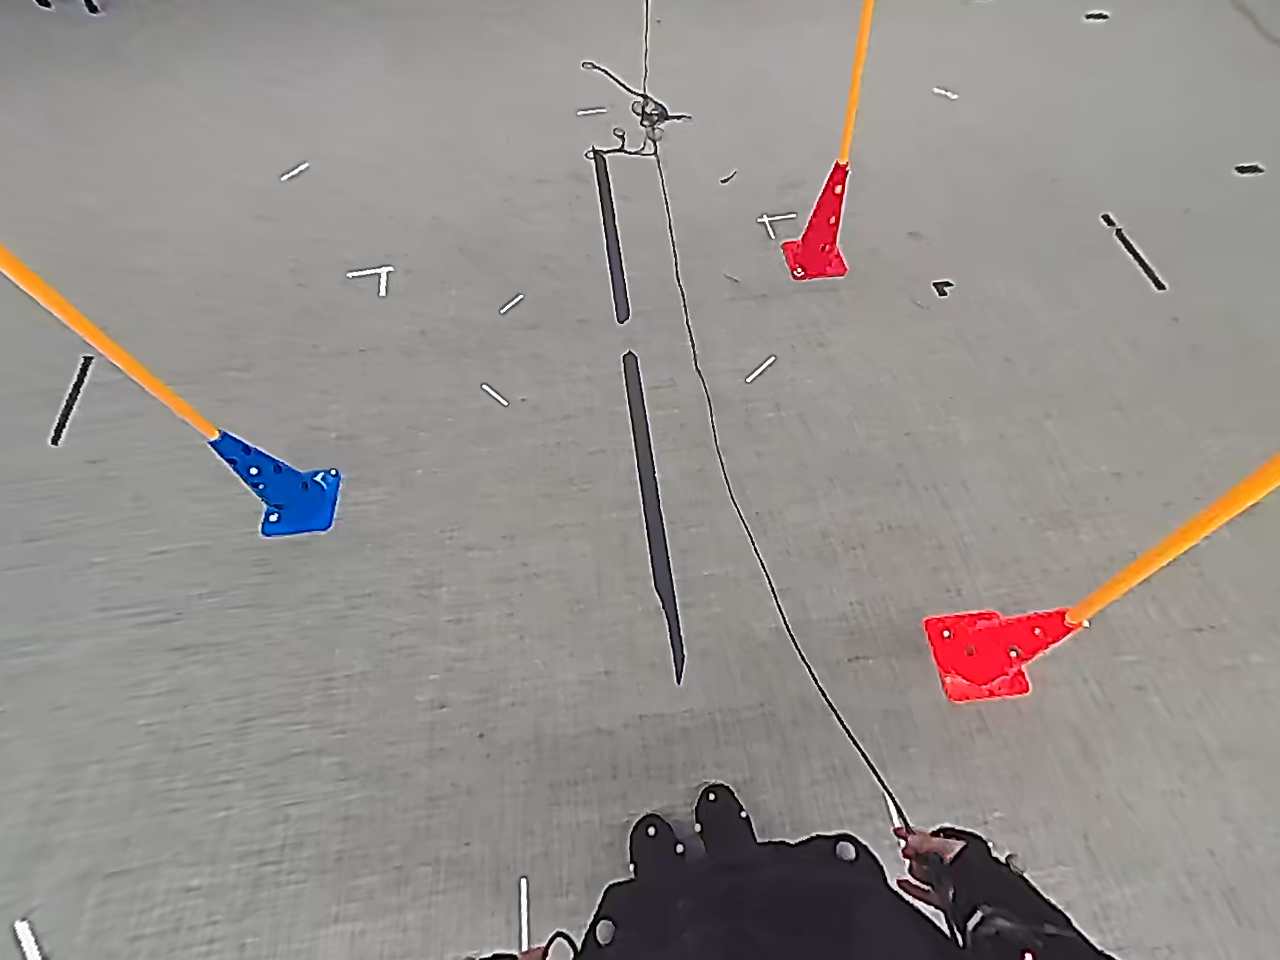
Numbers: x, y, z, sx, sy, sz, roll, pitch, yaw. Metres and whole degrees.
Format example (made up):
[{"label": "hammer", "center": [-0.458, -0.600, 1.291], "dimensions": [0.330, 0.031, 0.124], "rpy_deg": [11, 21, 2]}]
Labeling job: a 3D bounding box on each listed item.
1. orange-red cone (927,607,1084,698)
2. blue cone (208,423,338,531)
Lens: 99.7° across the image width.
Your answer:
[{"label": "orange-red cone", "center": [0.801, 0.334, 1.142], "dimensions": [0.198, 0.360, 0.199], "rpy_deg": [-5, 62, 0]}, {"label": "blue cone", "center": [-0.989, -0.022, 1.427], "dimensions": [0.193, 0.380, 0.192], "rpy_deg": [-4, 61, 0]}]
